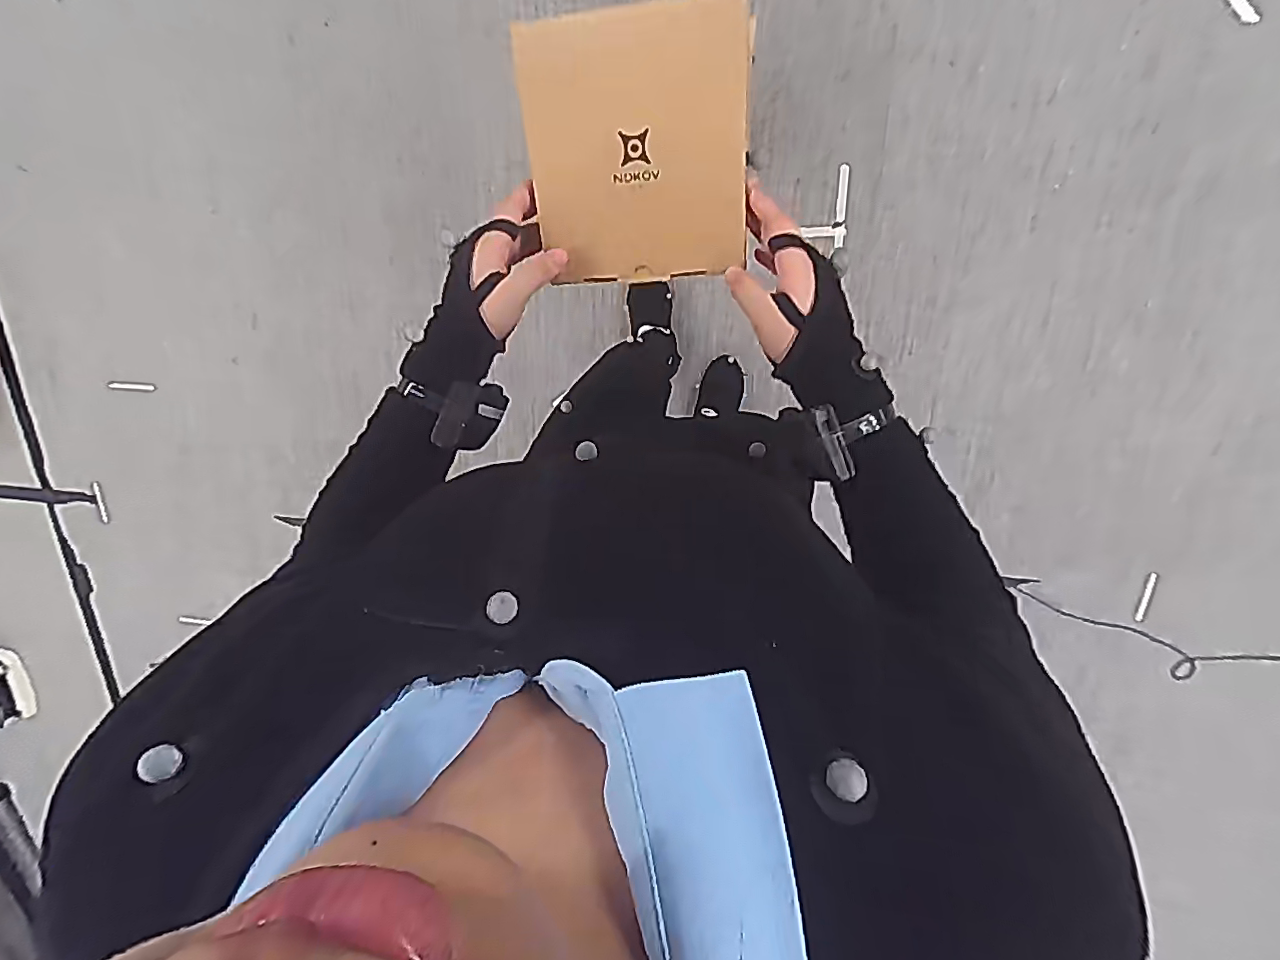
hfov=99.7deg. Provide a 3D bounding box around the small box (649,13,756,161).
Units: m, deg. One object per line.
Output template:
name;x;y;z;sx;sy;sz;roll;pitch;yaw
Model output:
small box;0.116;-0.726;1.016;0.168;0.176;0.179;9;108;6
